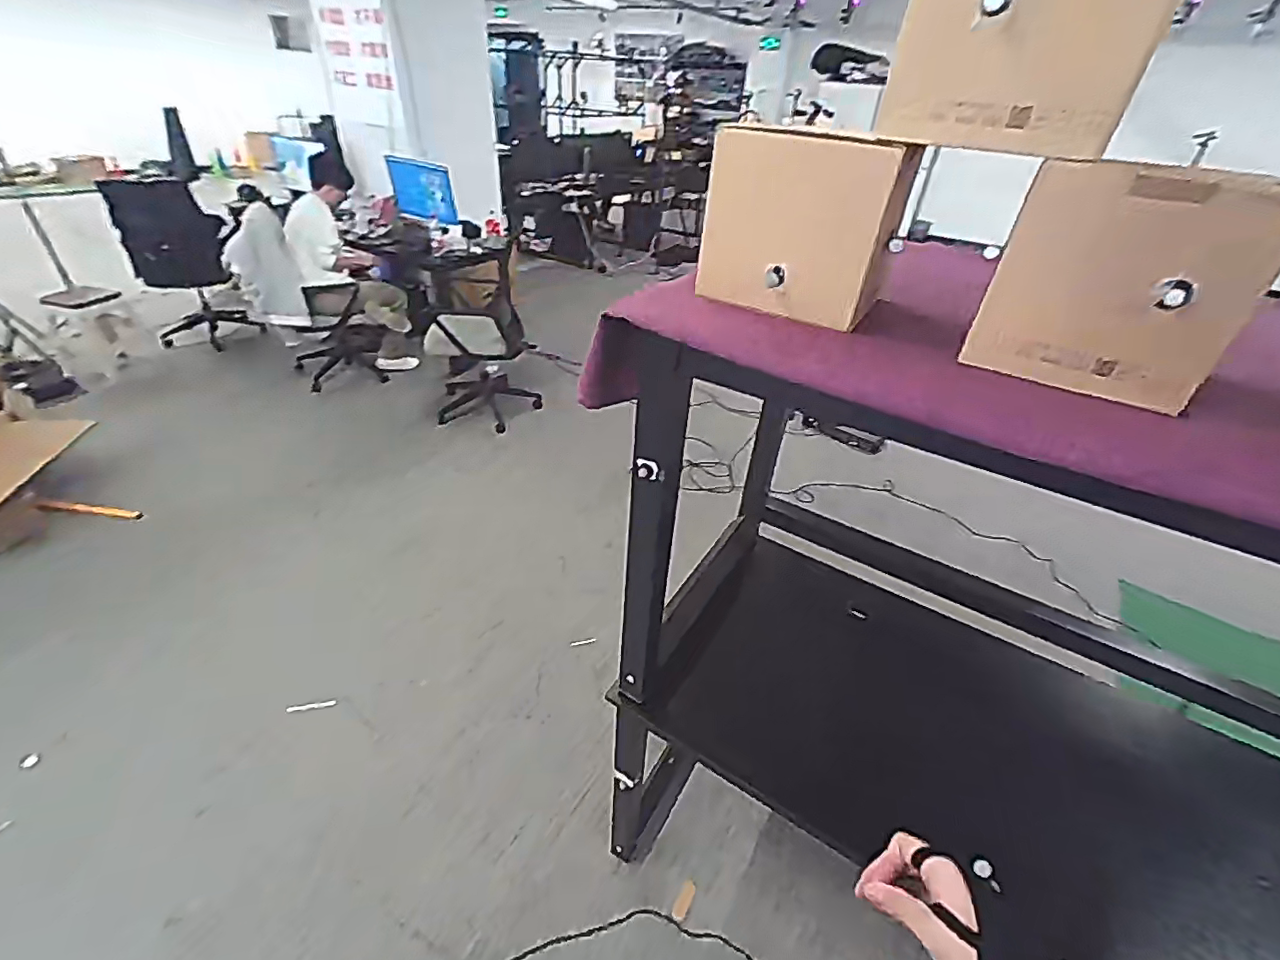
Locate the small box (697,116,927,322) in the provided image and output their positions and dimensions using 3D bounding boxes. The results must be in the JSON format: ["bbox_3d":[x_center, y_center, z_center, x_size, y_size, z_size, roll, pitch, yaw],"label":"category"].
[{"bbox_3d":[0.181,-0.284,0.587,0.179,0.176,0.168,23,39,22],"label":"small box"}]

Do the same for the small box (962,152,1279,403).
[{"bbox_3d":[0.413,-0.186,0.480,0.168,0.176,0.179,25,39,25],"label":"small box"}]

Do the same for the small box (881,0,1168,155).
[{"bbox_3d":[0.316,-0.368,0.442,0.168,0.176,0.179,23,39,24],"label":"small box"}]
